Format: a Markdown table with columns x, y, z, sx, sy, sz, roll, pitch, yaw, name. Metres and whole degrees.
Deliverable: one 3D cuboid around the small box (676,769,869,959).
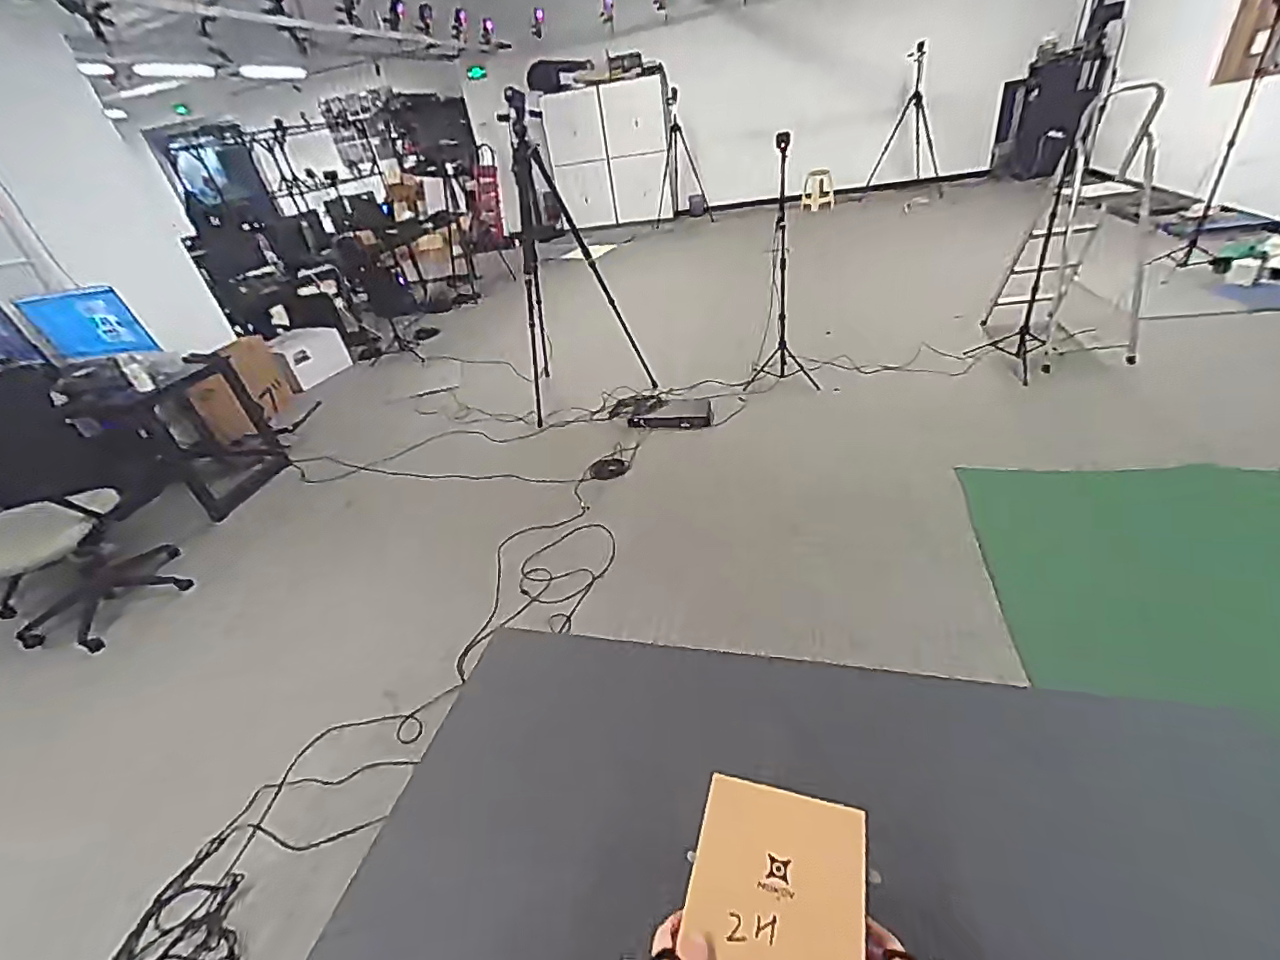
| x | y | z | sx | sy | sz | roll | pitch | yaw | name |
| --- | --- | --- | --- | --- | --- | --- | --- | --- | --- |
| 0.144 | 0.450 | 0.567 | 0.168 | 0.176 | 0.179 | 4 | 35 | 20 | small box |
